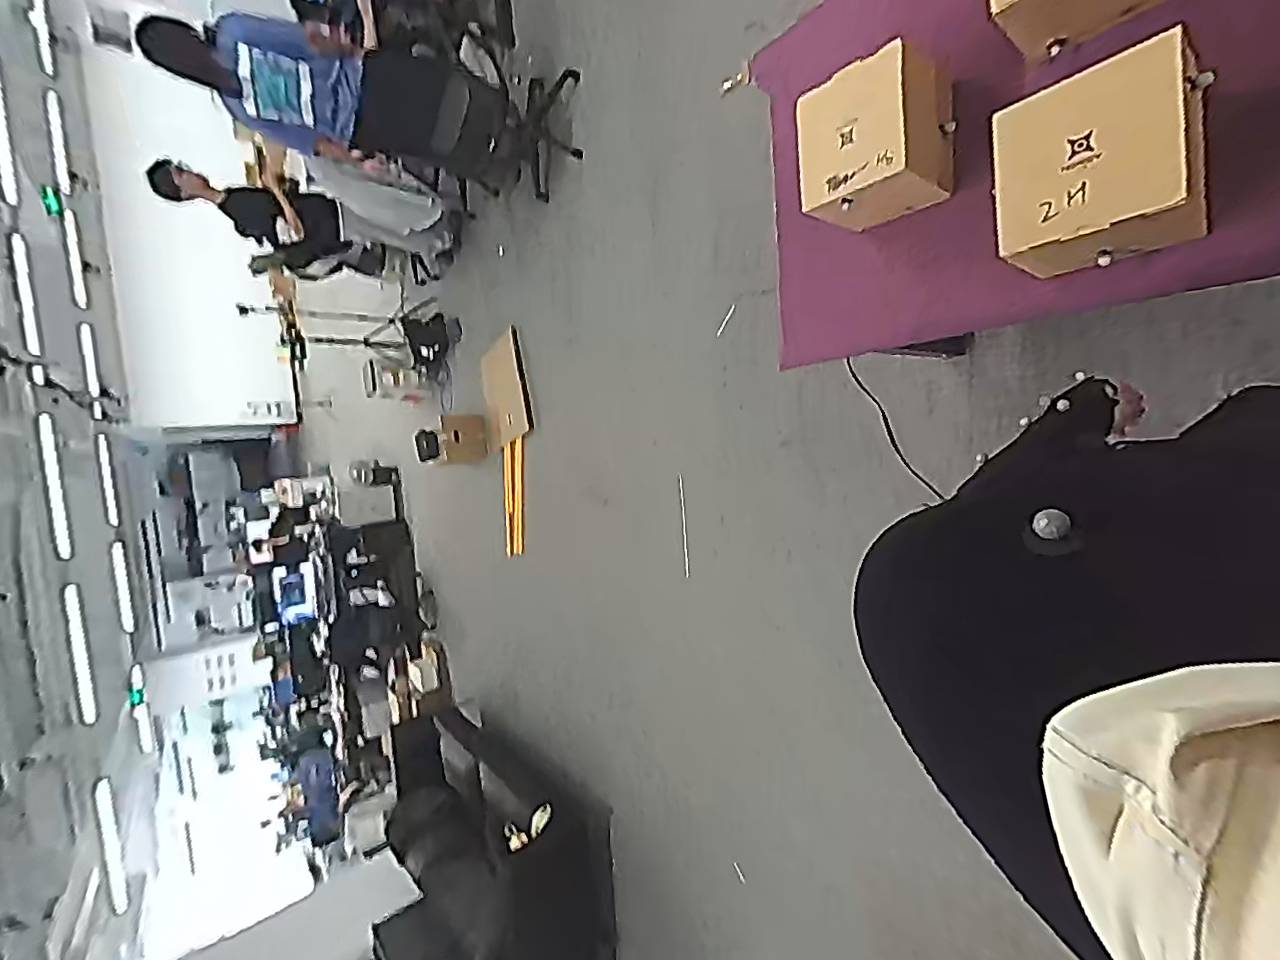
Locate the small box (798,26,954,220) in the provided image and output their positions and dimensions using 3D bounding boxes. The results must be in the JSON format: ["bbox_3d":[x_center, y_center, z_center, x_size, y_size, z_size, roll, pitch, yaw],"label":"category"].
[{"bbox_3d":[0.365,-0.531,0.838,0.168,0.176,0.179,2,98,52],"label":"small box"}]

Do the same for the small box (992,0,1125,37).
[{"bbox_3d":[0.523,-0.663,0.625,0.168,0.176,0.179,-1,95,51],"label":"small box"}]

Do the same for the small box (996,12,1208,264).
[{"bbox_3d":[0.548,-0.380,0.643,0.168,0.176,0.179,-2,95,51],"label":"small box"}]
